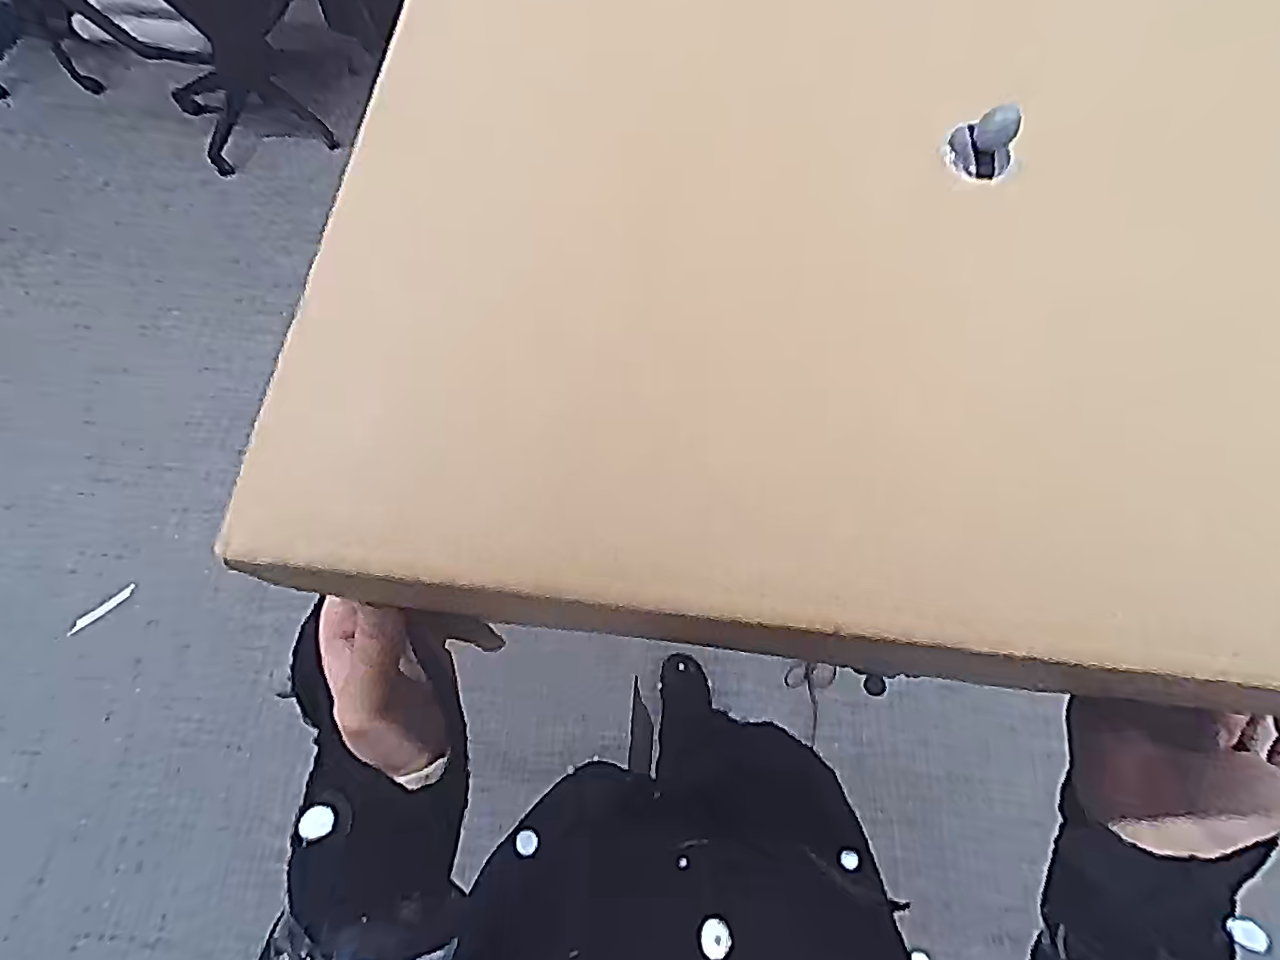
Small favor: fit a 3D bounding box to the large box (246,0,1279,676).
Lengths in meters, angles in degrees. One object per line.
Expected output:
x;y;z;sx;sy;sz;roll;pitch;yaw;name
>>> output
0.096;-0.070;0.328;0.408;0.320;0.320;7;74;-3;large box
